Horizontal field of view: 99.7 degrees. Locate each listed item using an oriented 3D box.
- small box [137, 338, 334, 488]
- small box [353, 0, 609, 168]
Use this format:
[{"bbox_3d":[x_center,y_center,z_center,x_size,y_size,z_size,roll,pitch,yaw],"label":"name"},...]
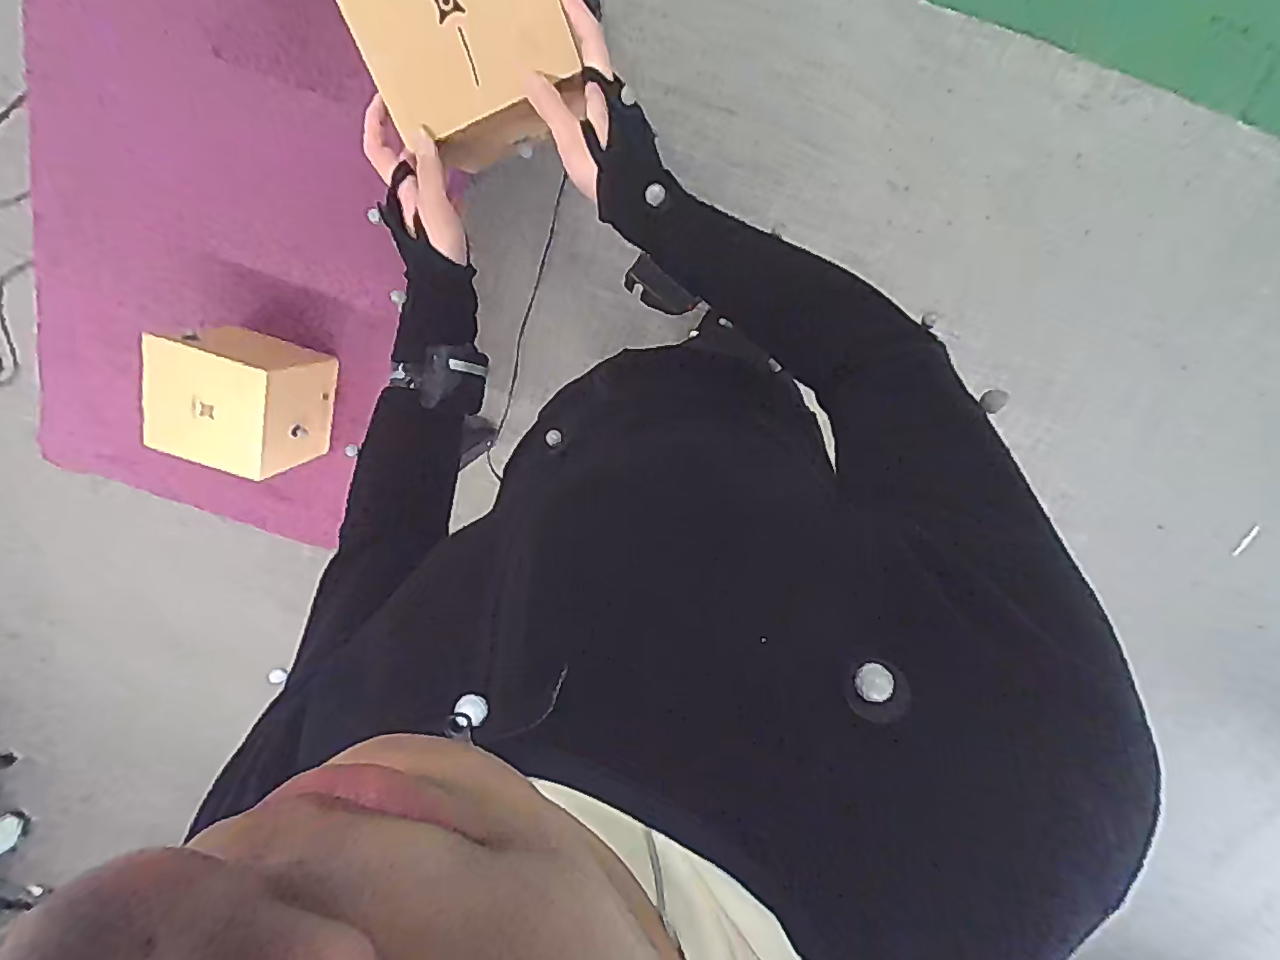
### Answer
[{"bbox_3d":[-0.593,-0.110,0.812,0.179,0.176,0.168,16,108,-1],"label":"small box"},{"bbox_3d":[-0.136,-0.408,0.482,0.168,0.176,0.179,-18,113,10],"label":"small box"}]
